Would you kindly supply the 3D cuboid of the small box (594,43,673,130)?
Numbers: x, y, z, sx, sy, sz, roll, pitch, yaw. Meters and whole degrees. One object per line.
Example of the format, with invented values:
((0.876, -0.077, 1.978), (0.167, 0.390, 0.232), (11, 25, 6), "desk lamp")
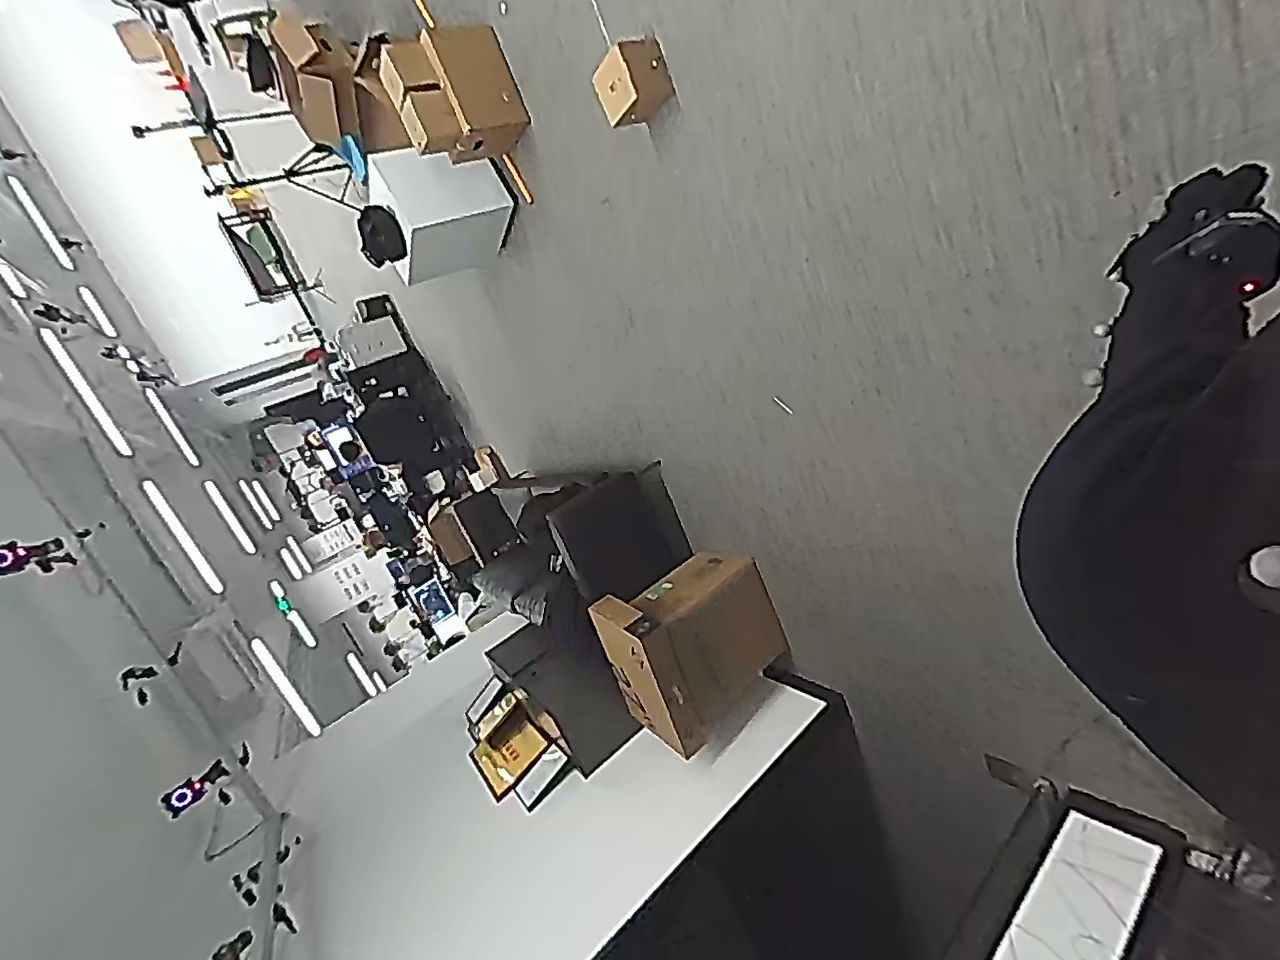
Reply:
((-0.020, -1.299, 1.789), (0.179, 0.176, 0.168), (-2, 116, 59), "small box")
